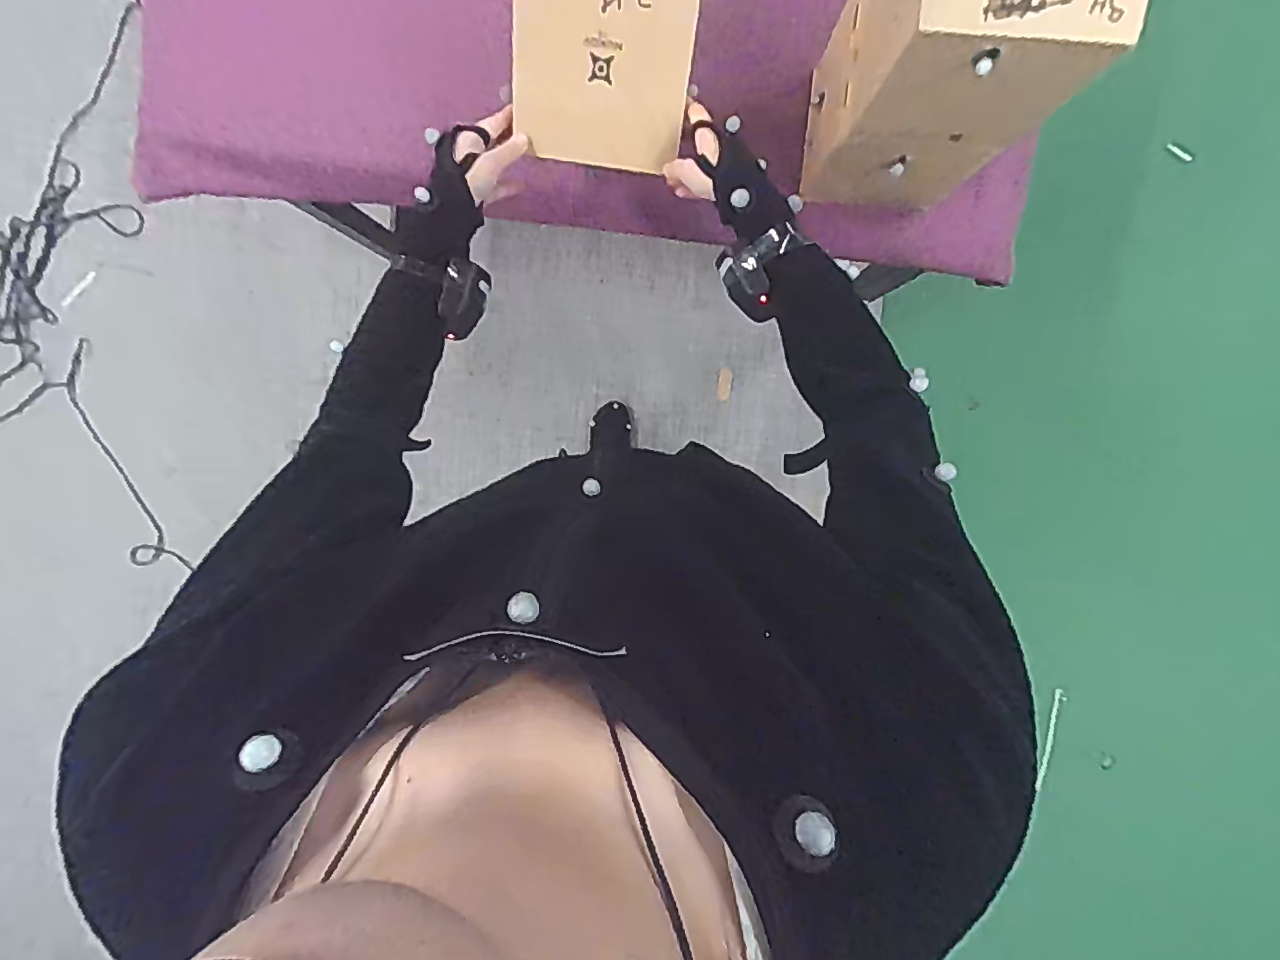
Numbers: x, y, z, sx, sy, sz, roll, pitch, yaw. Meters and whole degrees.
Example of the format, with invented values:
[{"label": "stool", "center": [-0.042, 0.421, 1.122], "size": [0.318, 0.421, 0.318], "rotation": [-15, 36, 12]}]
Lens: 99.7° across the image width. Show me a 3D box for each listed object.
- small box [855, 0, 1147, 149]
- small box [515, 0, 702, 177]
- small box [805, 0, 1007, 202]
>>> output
[{"label": "small box", "center": [0.304, -0.429, 0.476], "size": [0.168, 0.176, 0.179], "rotation": [6, 97, 4]}, {"label": "small box", "center": [-0.038, -0.437, 0.574], "size": [0.168, 0.176, 0.179], "rotation": [4, 121, -8]}, {"label": "small box", "center": [0.311, -0.446, 0.640], "size": [0.179, 0.176, 0.168], "rotation": [5, 98, 4]}]
